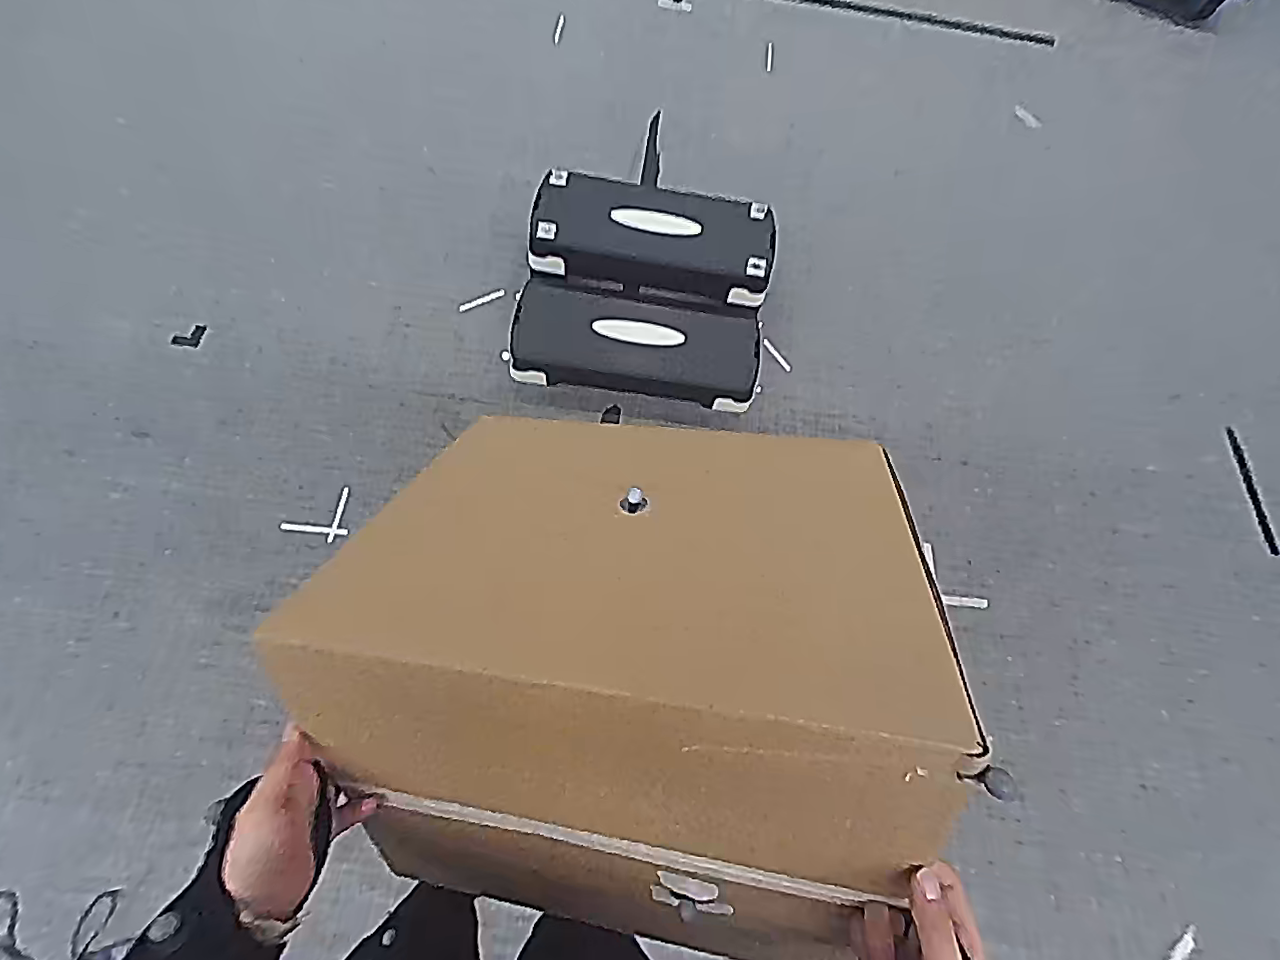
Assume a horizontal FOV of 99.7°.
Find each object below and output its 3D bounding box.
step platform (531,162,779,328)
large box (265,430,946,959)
[{"bbox_3d":[0.043,-0.666,1.538,0.684,0.204,0.286,13,69,-1],"label":"step platform"},{"bbox_3d":[-0.008,0.157,0.499,0.408,0.320,0.320,3,33,11],"label":"large box"}]
